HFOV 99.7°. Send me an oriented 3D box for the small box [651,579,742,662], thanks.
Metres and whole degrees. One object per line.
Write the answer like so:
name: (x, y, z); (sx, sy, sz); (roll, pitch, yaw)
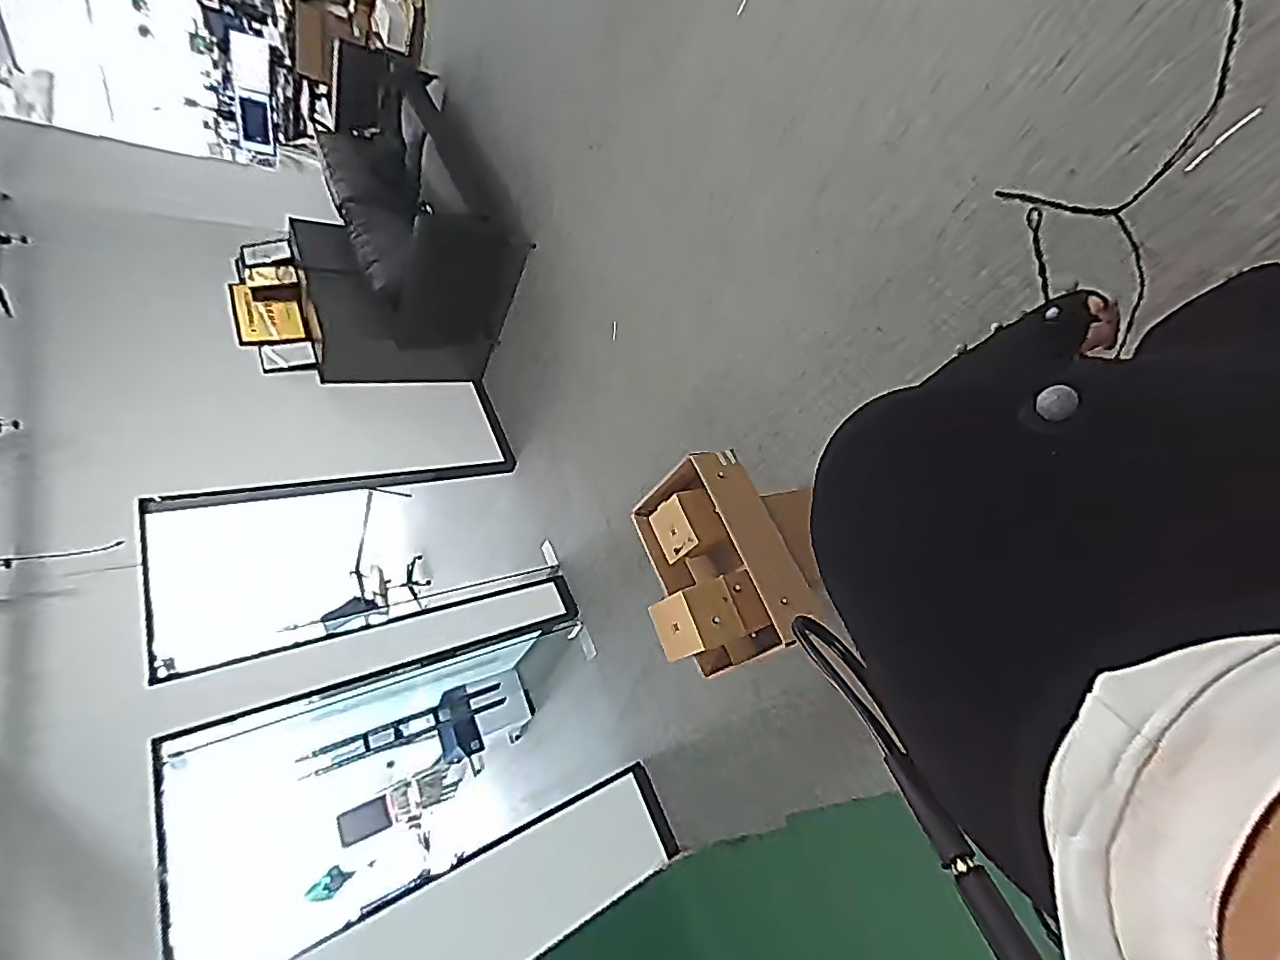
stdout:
small box: (0.165, 0.394, 1.525); (0.179, 0.176, 0.168); (-42, 63, 48)
